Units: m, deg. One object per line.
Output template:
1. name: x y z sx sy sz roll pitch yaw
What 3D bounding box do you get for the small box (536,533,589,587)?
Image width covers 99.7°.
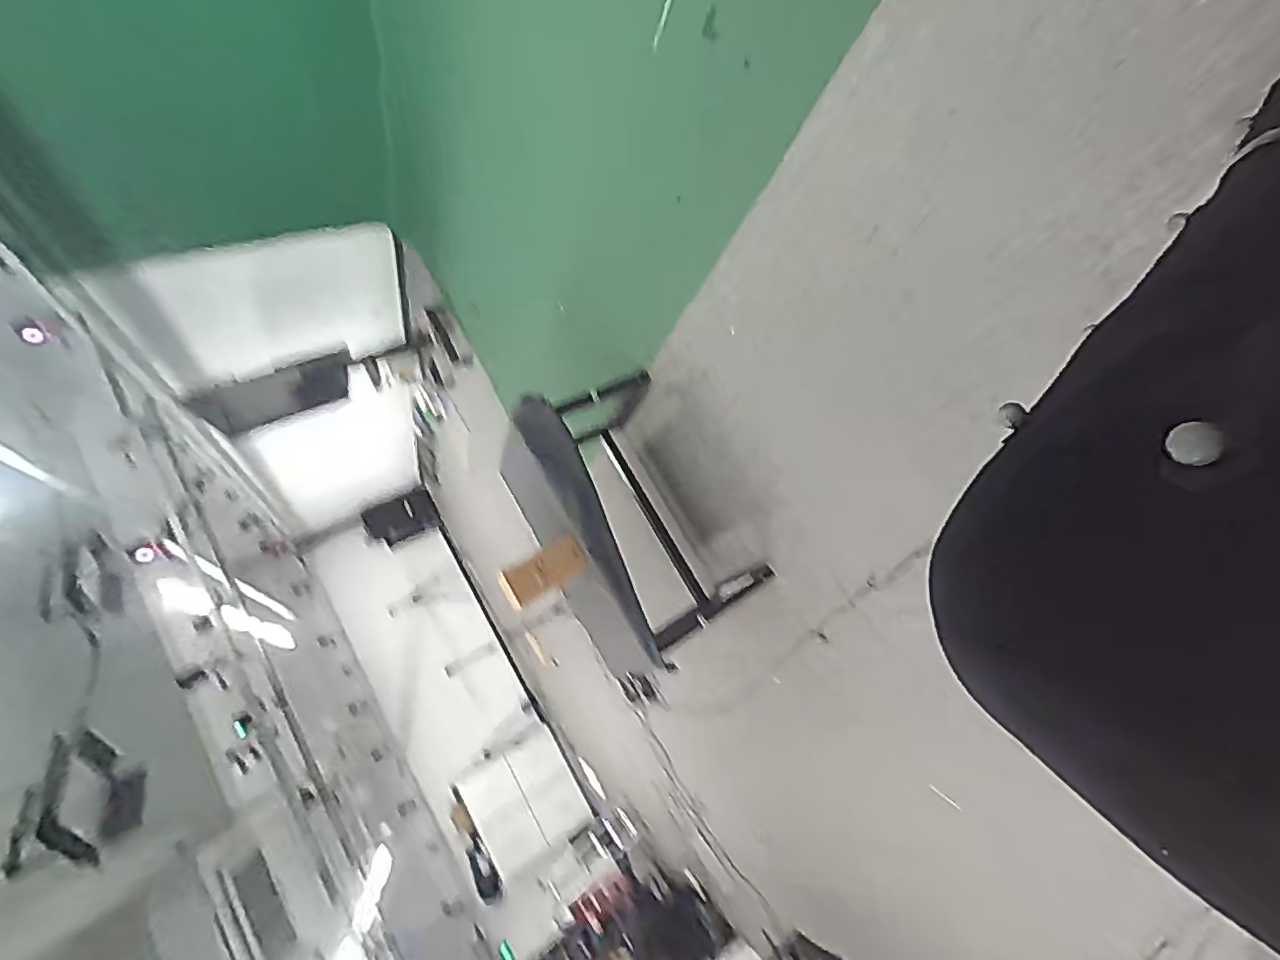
1. small box: -0.344 0.341 2.327 0.179 0.176 0.168 61 154 7

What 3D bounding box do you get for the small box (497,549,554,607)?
1. small box: -0.476 0.411 2.263 0.168 0.176 0.179 58 152 7
